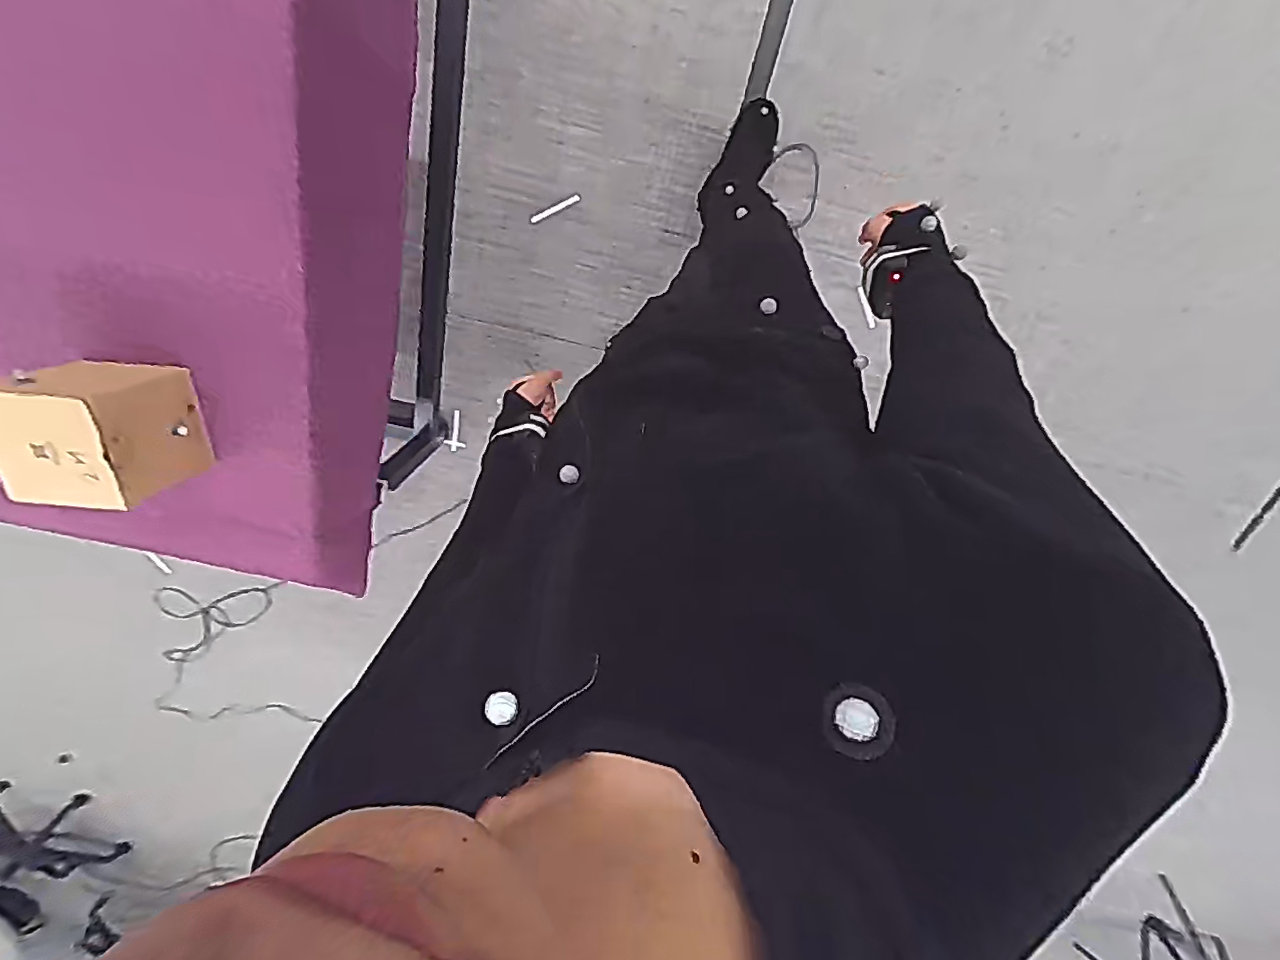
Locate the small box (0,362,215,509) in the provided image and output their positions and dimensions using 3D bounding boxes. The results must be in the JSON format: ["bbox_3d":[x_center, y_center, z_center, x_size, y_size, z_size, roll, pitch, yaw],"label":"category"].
[{"bbox_3d":[-0.793,-0.073,0.802,0.179,0.176,0.168,4,116,1],"label":"small box"}]
